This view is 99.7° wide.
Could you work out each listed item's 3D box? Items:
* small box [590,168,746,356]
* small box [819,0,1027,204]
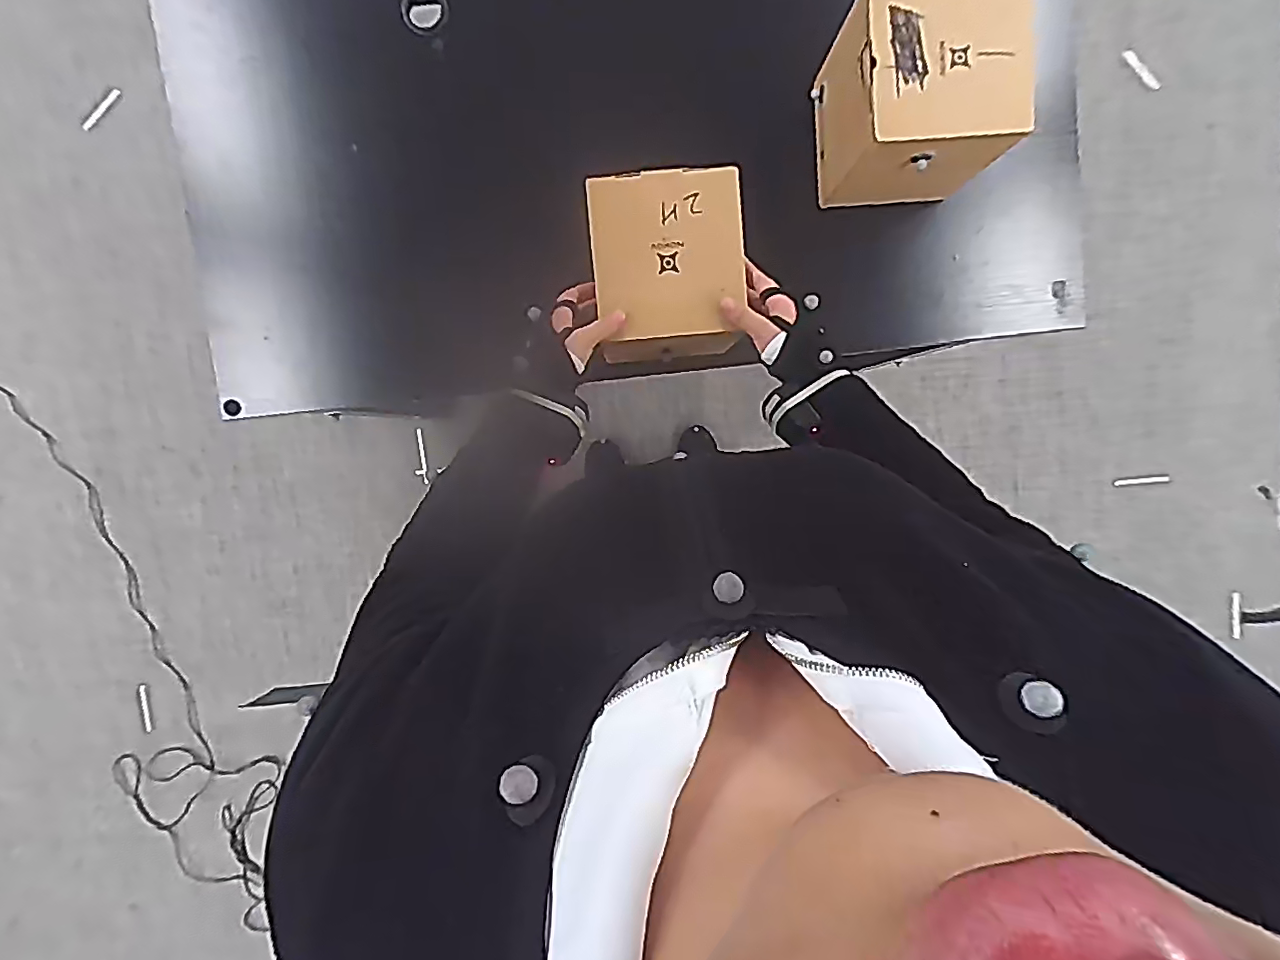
[{"bbox_3d":[0.031,-0.254,0.673,0.168,0.176,0.179,-5,94,-1],"label":"small box"},{"bbox_3d":[0.327,-0.456,0.659,0.179,0.176,0.168,-4,95,-1],"label":"small box"}]
